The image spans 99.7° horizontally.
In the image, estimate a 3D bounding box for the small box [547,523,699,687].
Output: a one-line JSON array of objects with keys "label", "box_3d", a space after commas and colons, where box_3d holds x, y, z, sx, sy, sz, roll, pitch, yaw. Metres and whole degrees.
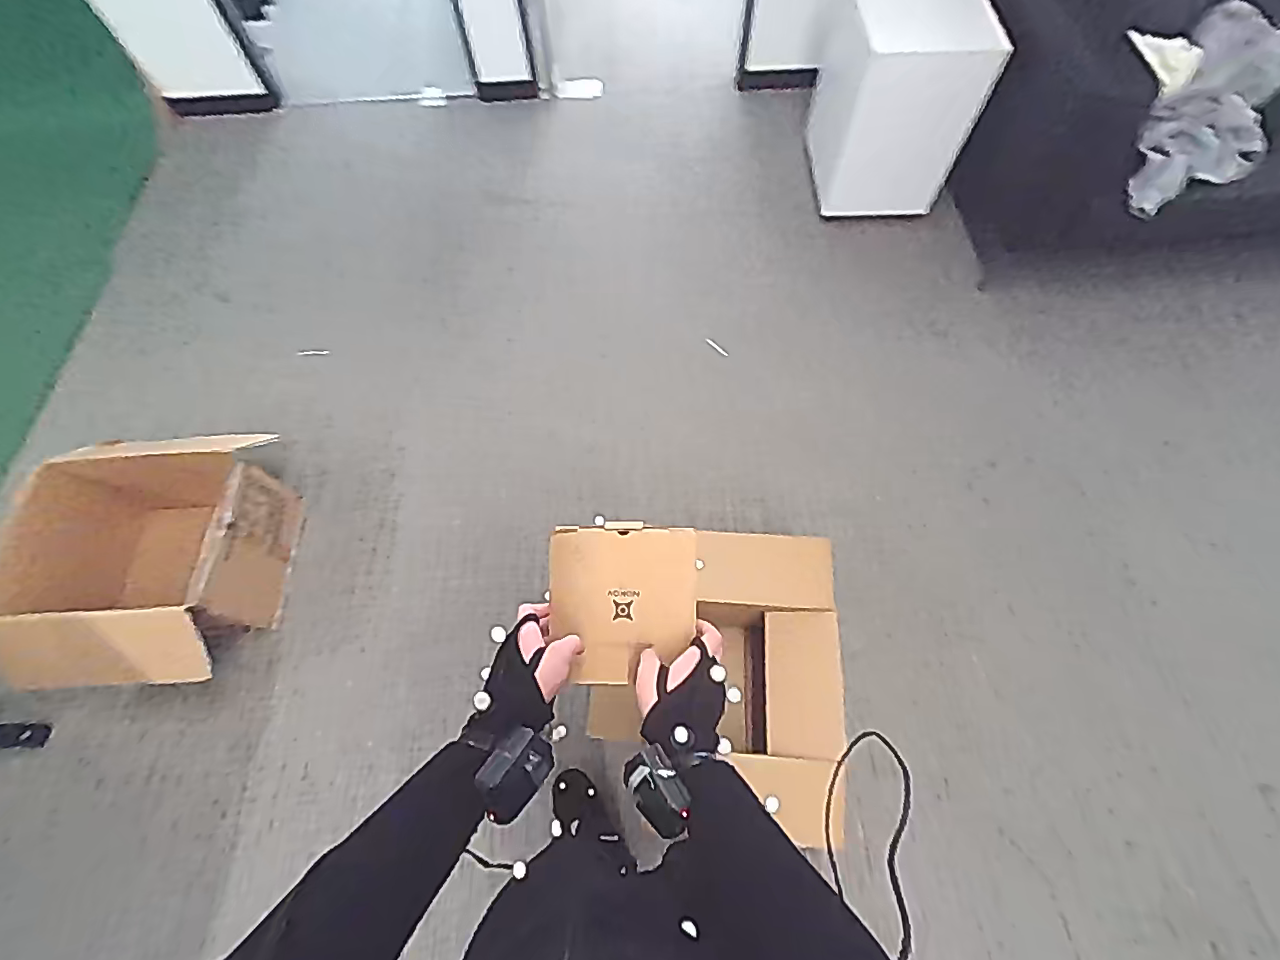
[{"label": "small box", "box_3d": [-0.018, 0.146, 0.671, 0.168, 0.176, 0.179, 0, 83, 1]}]
